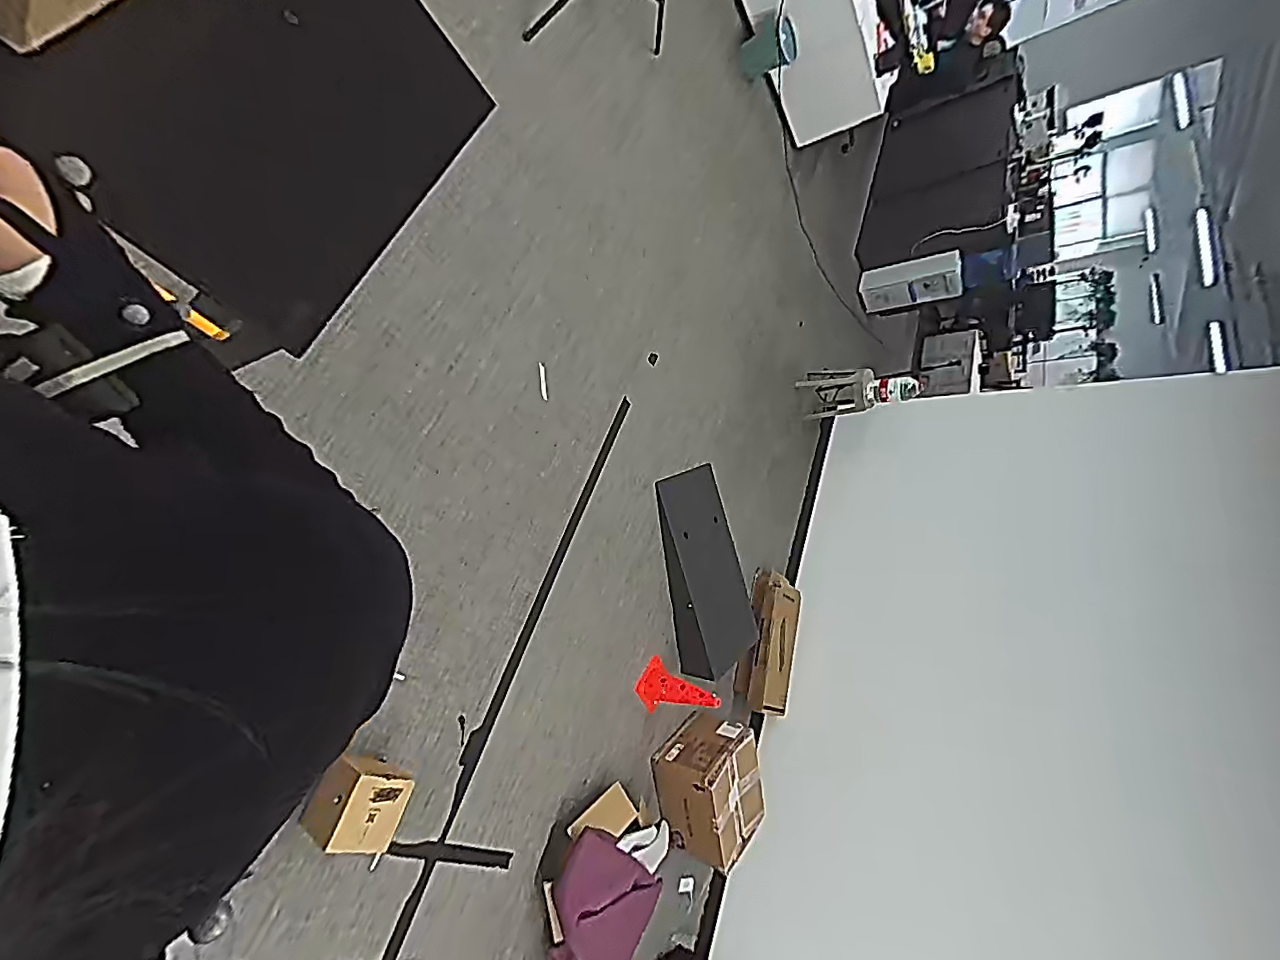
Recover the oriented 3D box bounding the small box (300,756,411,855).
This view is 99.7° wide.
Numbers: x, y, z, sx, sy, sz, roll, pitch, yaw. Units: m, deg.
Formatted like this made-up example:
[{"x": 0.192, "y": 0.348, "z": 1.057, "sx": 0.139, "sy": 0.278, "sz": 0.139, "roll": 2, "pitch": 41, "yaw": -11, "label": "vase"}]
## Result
[{"x": -0.740, "y": 0.839, "z": 1.402, "sx": 0.168, "sy": 0.176, "sz": 0.179, "roll": 41, "pitch": 60, "yaw": -43, "label": "small box"}]
